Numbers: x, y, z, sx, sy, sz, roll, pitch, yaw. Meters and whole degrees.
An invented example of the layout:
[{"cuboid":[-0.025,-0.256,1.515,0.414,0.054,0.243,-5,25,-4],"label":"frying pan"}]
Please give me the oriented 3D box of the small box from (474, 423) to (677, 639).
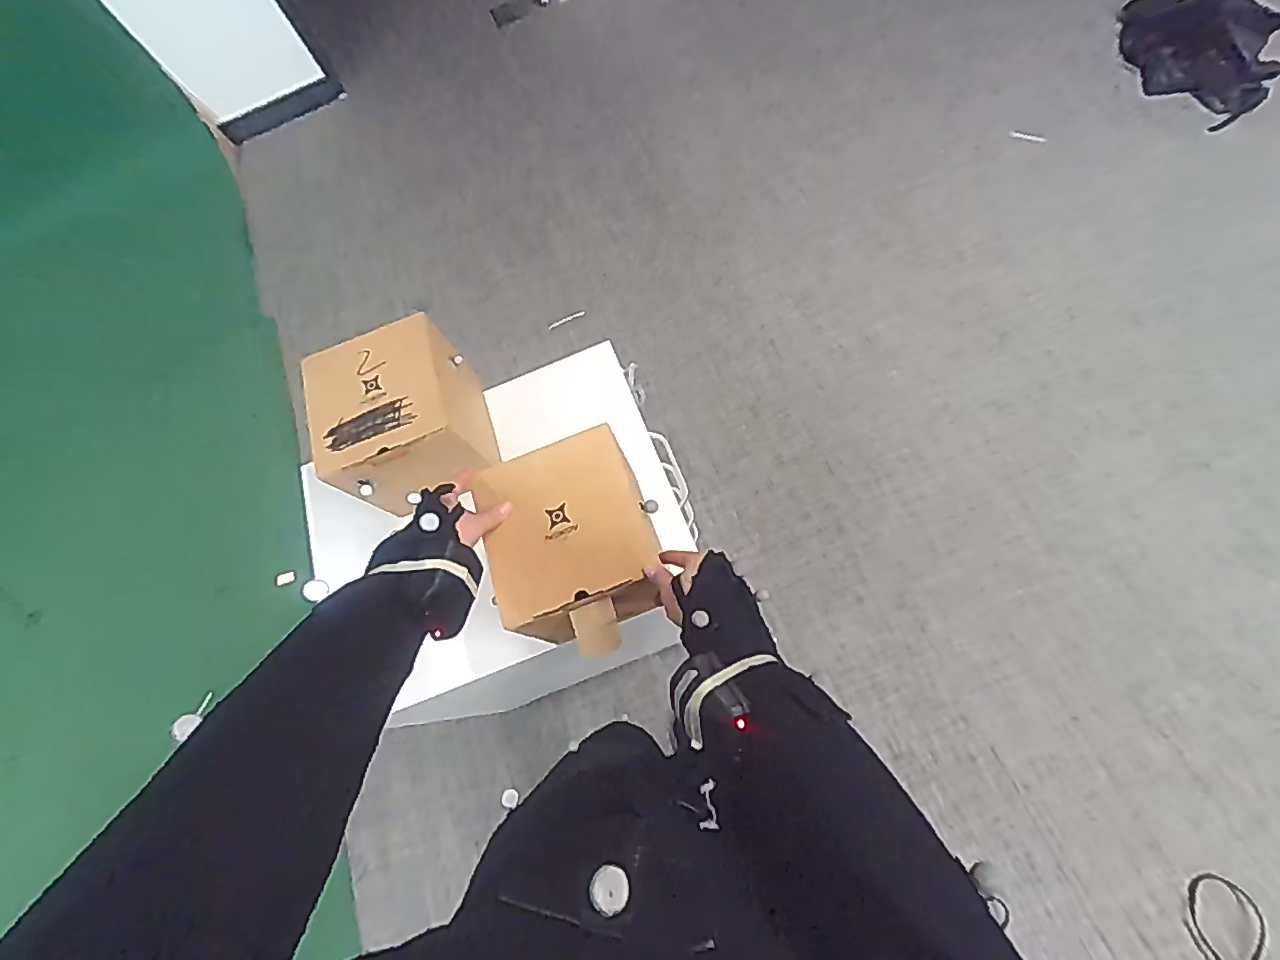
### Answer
[{"cuboid":[-0.066,0.068,0.623,0.168,0.176,0.179,-21,67,1],"label":"small box"}]
